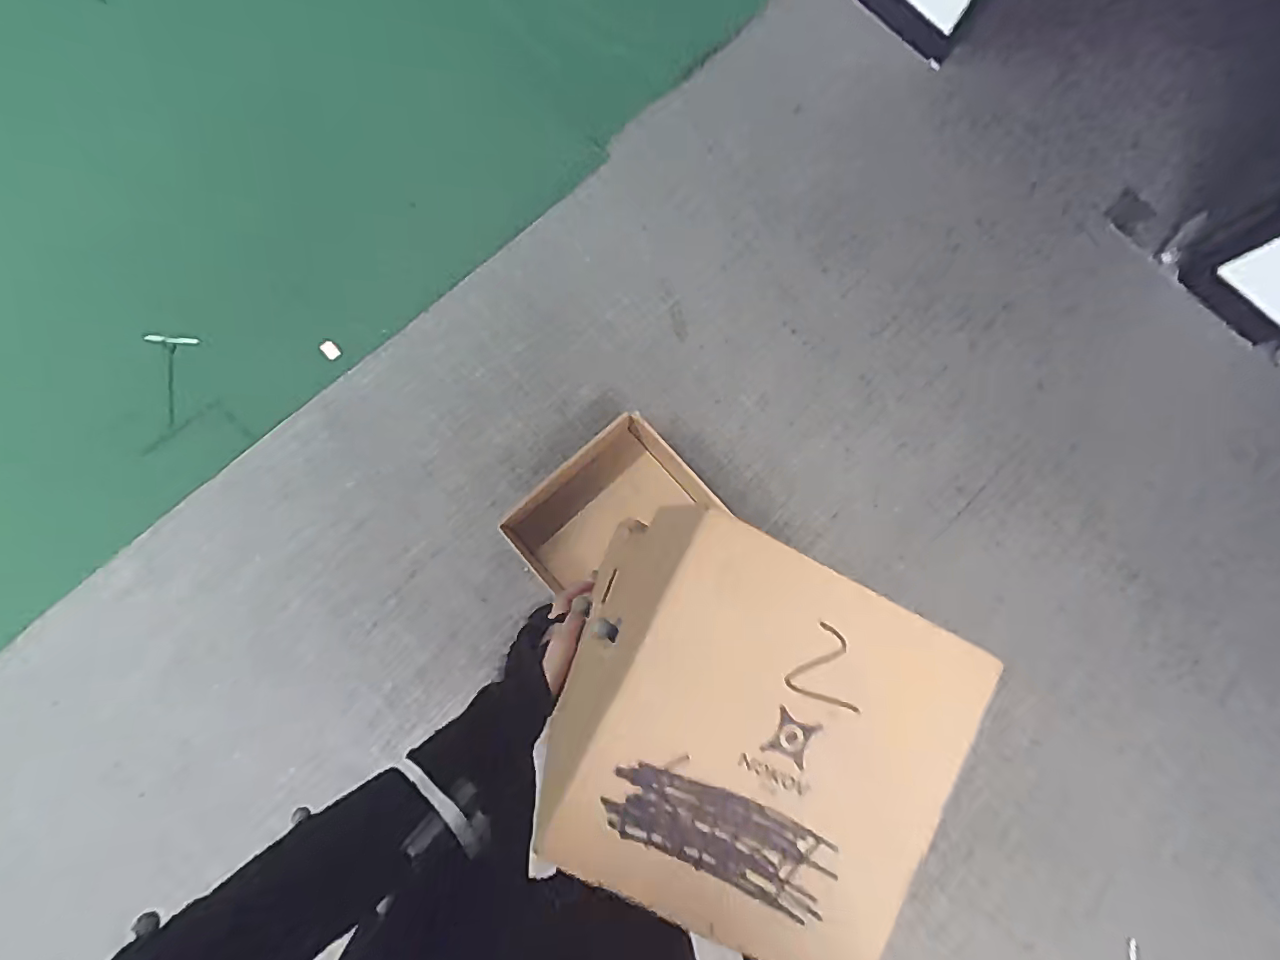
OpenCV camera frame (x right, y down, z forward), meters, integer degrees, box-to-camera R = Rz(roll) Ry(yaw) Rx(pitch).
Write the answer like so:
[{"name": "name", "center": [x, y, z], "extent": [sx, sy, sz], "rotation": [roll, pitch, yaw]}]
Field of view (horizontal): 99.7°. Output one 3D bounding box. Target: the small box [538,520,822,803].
[{"name": "small box", "center": [0.027, 0.141, 0.487], "extent": [0.179, 0.176, 0.168], "rotation": [21, 87, -3]}]
